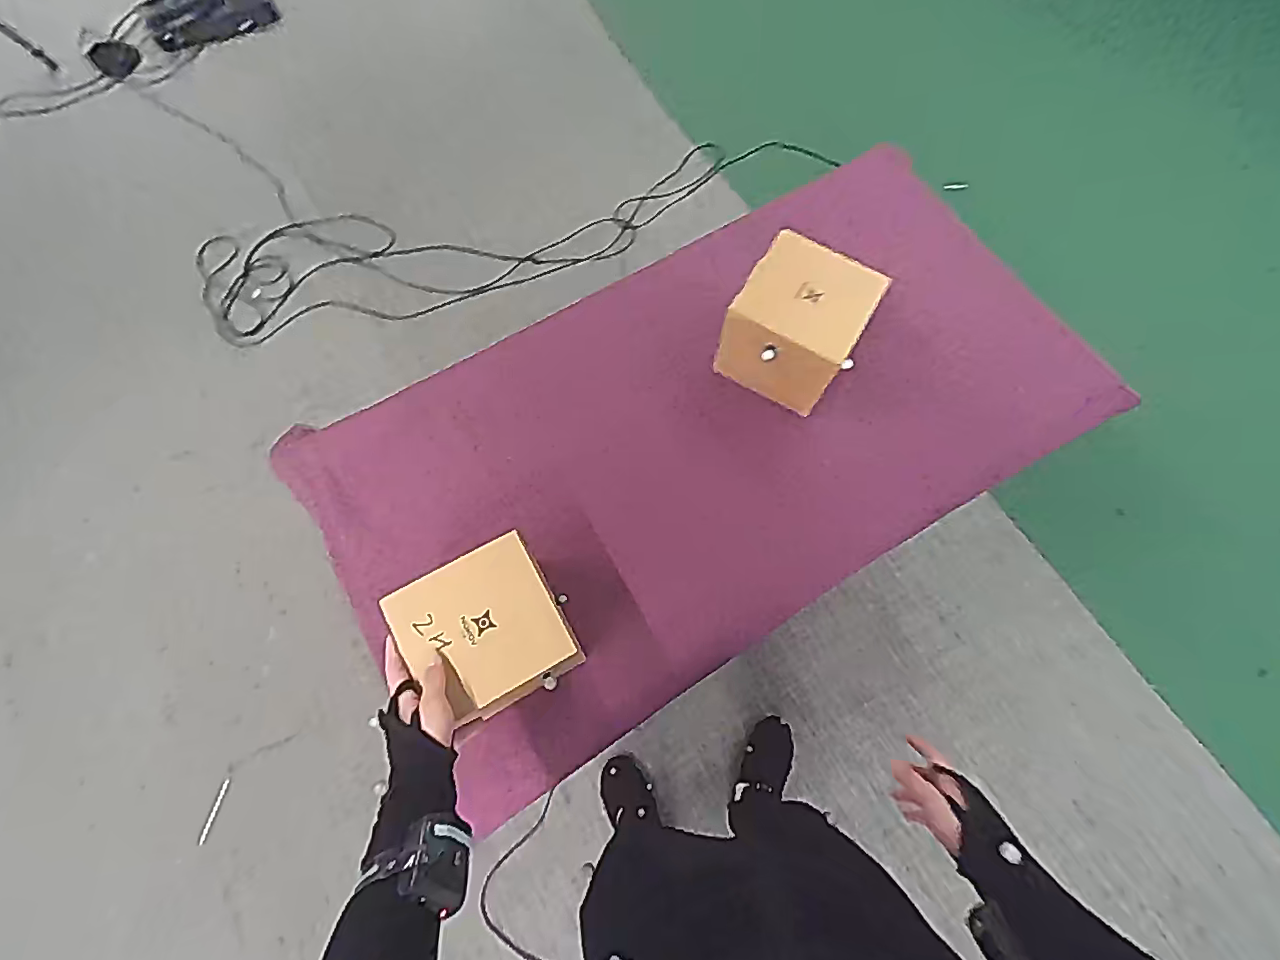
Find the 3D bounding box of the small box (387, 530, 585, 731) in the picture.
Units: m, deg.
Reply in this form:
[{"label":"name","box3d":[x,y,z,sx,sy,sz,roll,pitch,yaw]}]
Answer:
[{"label":"small box","box3d":[-0.180,0.189,0.684,0.179,0.176,0.168,-27,72,-11]}]

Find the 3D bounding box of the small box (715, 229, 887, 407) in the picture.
[{"label":"small box","box3d":[0.233,-0.234,0.826,0.179,0.176,0.168,30,75,11]}]
